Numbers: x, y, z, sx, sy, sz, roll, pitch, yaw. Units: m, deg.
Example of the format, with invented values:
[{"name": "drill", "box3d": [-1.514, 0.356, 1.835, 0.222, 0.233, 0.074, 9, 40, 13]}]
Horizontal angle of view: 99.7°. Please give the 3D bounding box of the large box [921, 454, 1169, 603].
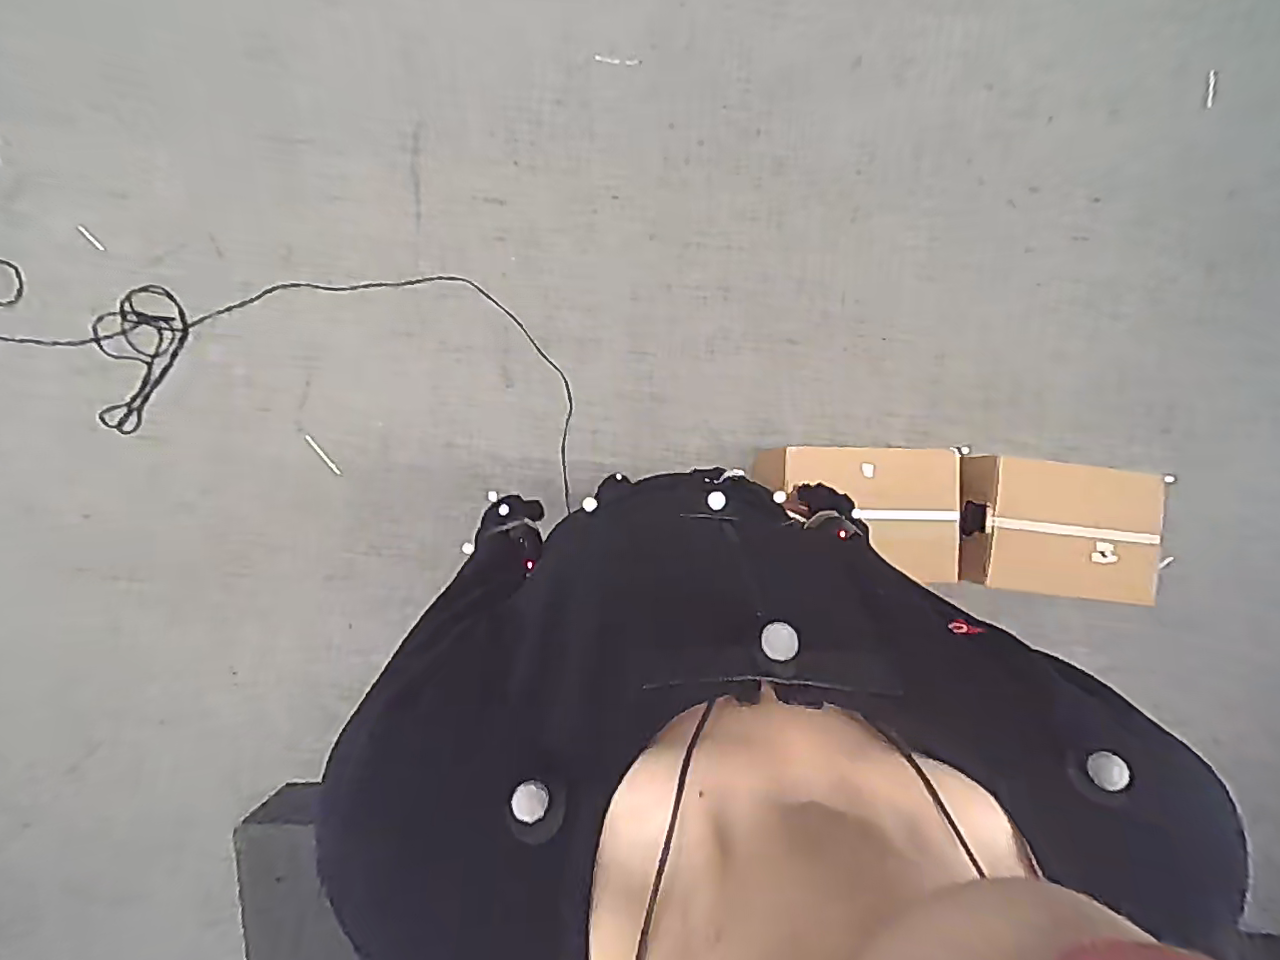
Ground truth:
[{"name": "large box", "box3d": [1.000, 0.116, 1.382, 0.408, 0.320, 0.320, 7, 89, -2]}]
